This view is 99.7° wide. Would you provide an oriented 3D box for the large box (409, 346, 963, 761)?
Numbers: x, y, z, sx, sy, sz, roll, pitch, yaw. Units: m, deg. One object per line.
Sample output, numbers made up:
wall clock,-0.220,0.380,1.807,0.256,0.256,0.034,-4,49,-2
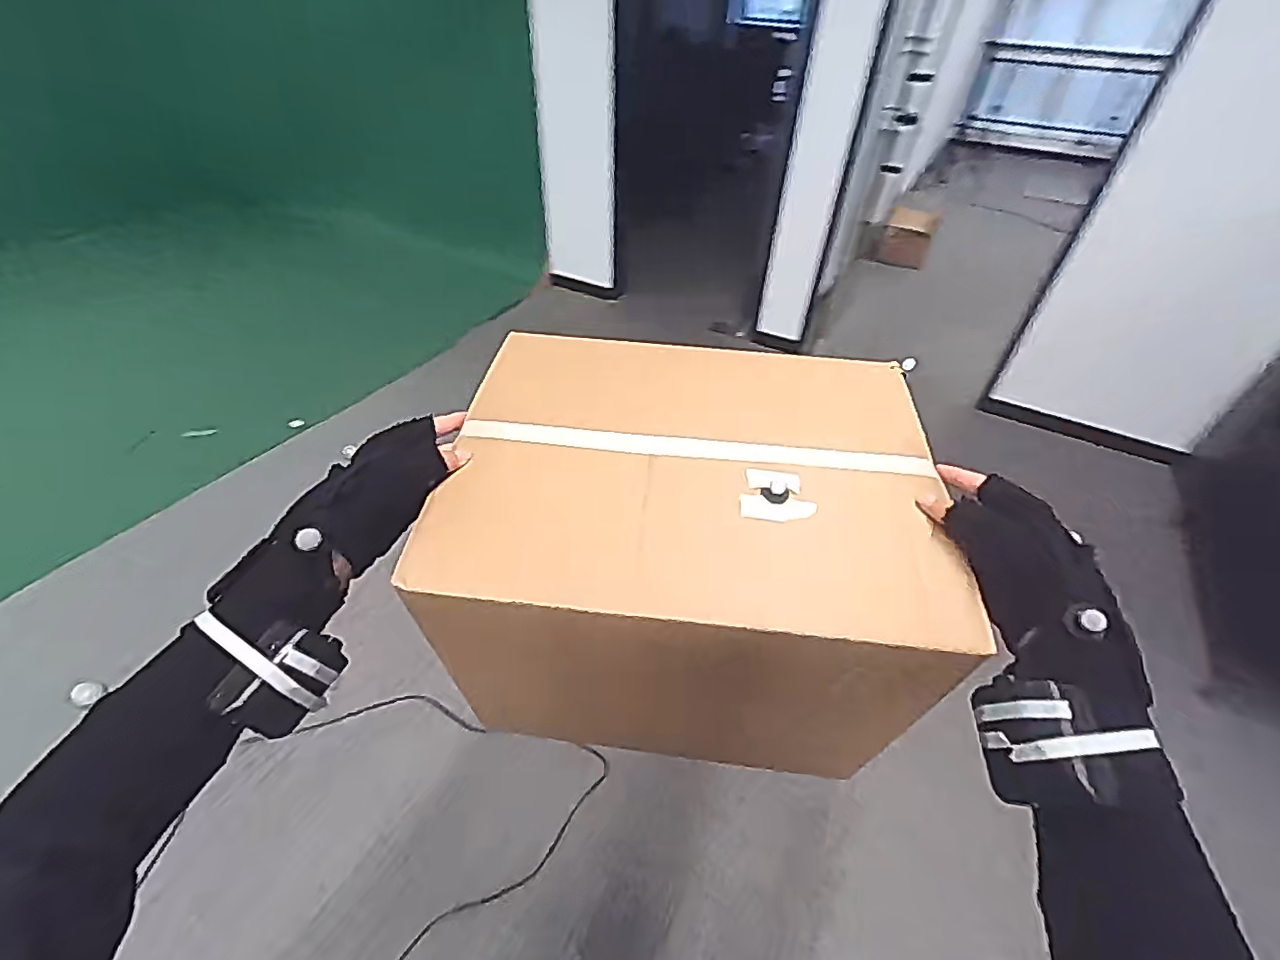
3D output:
large box,0.036,0.081,0.589,0.408,0.320,0.320,6,48,3
